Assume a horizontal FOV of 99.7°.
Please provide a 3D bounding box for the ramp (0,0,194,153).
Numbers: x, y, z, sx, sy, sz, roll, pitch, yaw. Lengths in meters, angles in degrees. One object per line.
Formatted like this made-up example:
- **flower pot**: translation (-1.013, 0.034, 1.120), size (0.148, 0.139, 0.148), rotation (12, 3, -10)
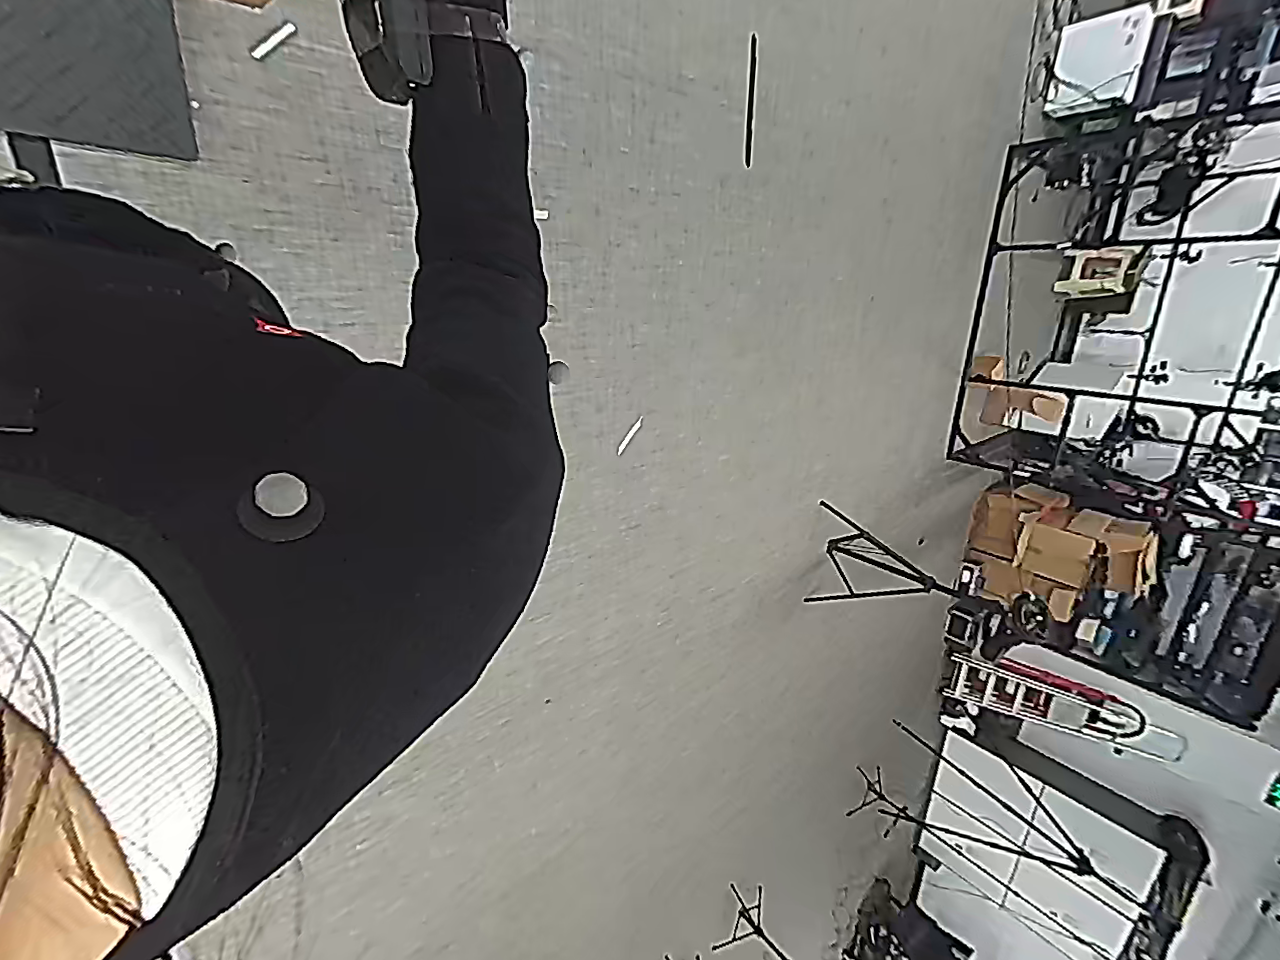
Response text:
- **ramp**: translation (-0.961, -1.029, 0.680), size (0.509, 0.206, 0.991), rotation (-14, 115, -39)
